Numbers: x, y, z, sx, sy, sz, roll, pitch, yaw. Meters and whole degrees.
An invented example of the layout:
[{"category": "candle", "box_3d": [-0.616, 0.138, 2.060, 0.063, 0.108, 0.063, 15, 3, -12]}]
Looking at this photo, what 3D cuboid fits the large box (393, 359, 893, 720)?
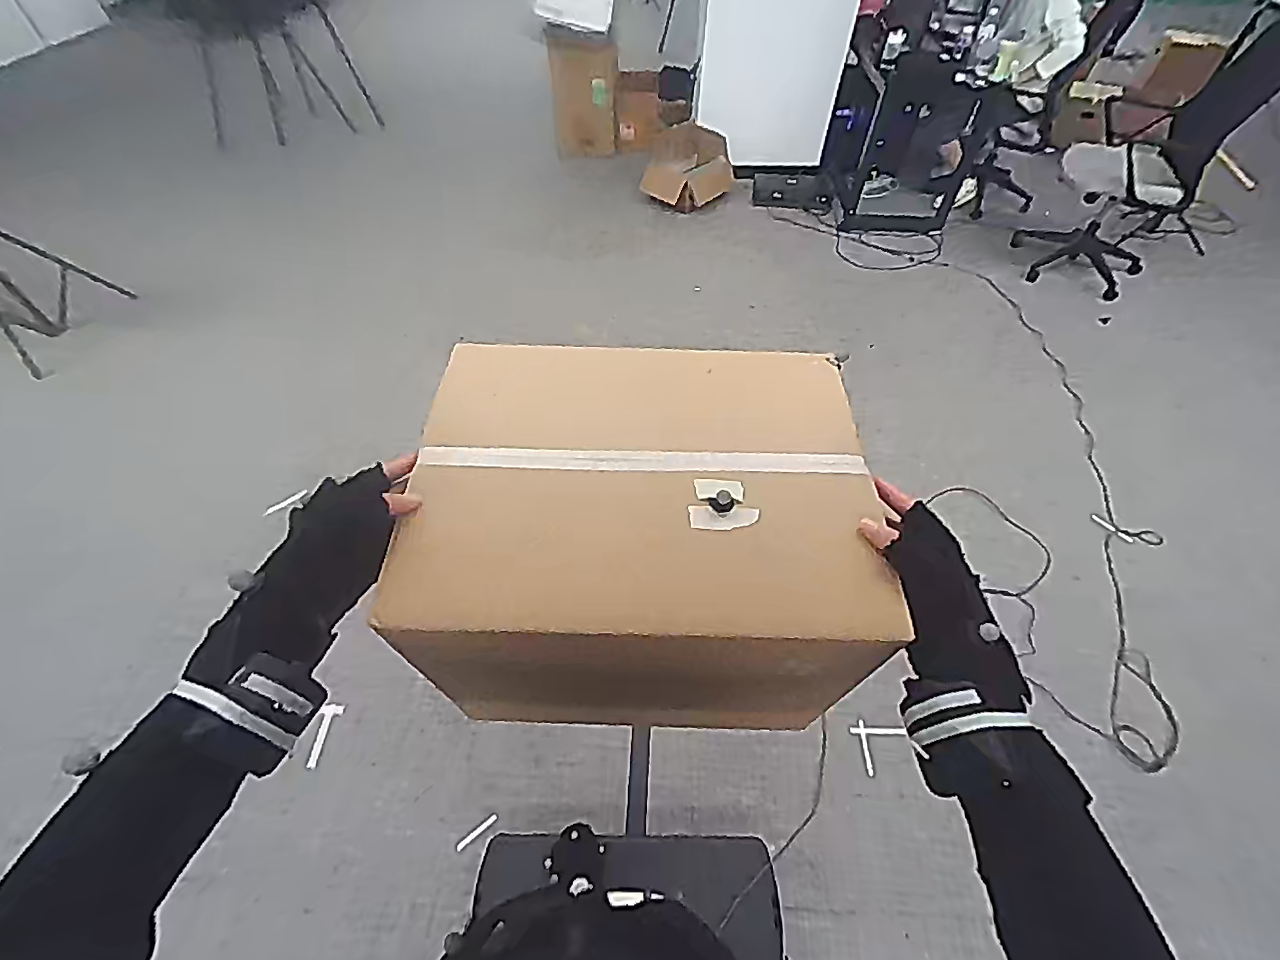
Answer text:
[{"category": "large box", "box_3d": [0.000, 0.081, 0.628, 0.408, 0.320, 0.320, 2, 54, 0]}]
